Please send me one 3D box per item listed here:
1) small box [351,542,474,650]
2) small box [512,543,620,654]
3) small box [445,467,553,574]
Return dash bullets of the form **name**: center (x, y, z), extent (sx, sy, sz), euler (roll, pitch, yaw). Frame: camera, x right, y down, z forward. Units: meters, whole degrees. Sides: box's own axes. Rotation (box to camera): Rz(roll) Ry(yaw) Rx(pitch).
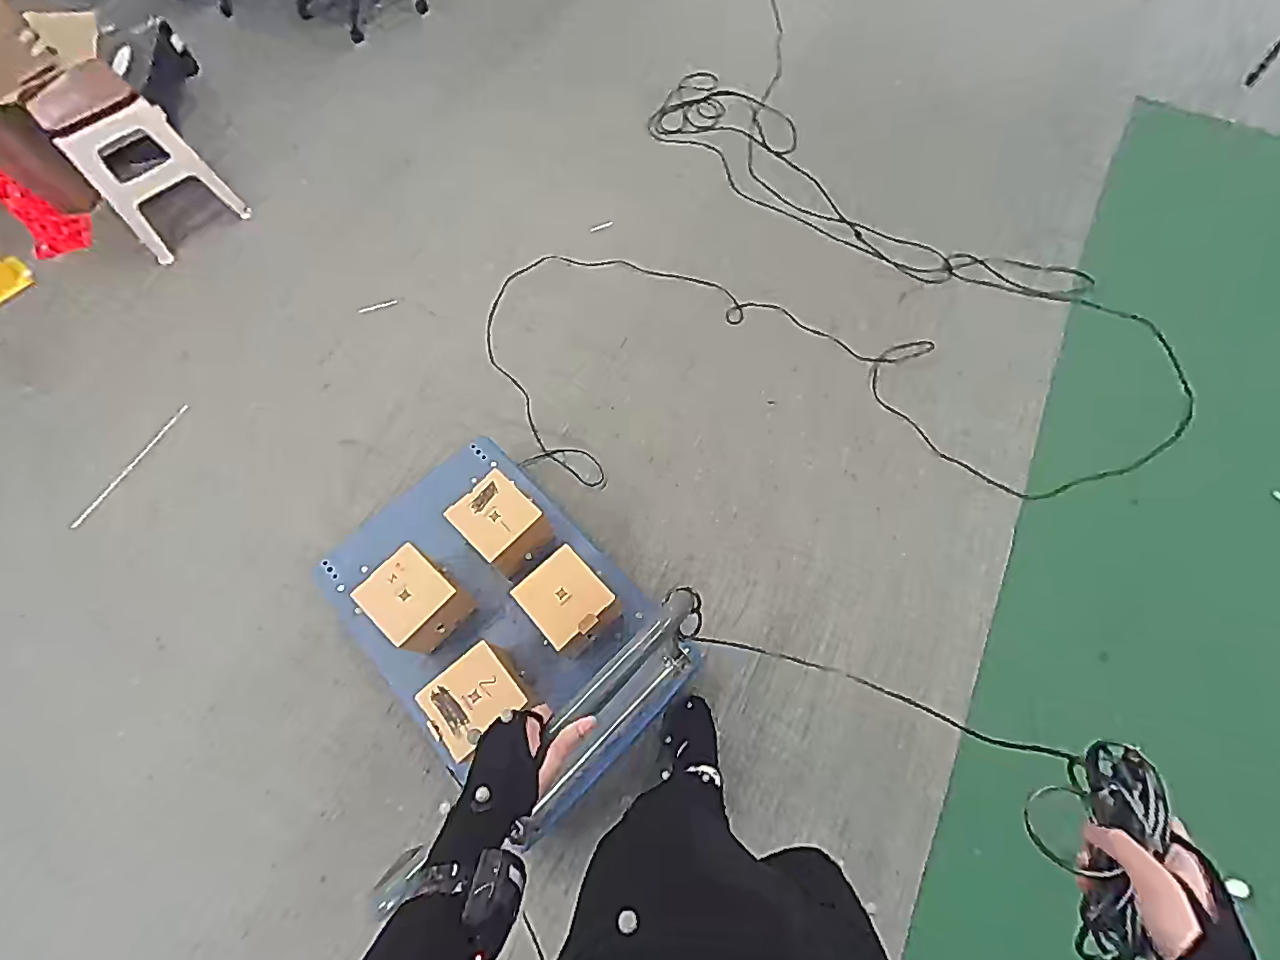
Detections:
- **small box**: center (-0.517, 0.277, 1.259), extent (0.179, 0.176, 0.168), euler (40, 72, 17)
- **small box**: center (-0.164, 0.280, 1.249), extent (0.168, 0.176, 0.179), euler (-41, 72, -15)
- **small box**: center (-0.338, 0.107, 1.329), extent (0.179, 0.176, 0.168), euler (42, 74, 16)
